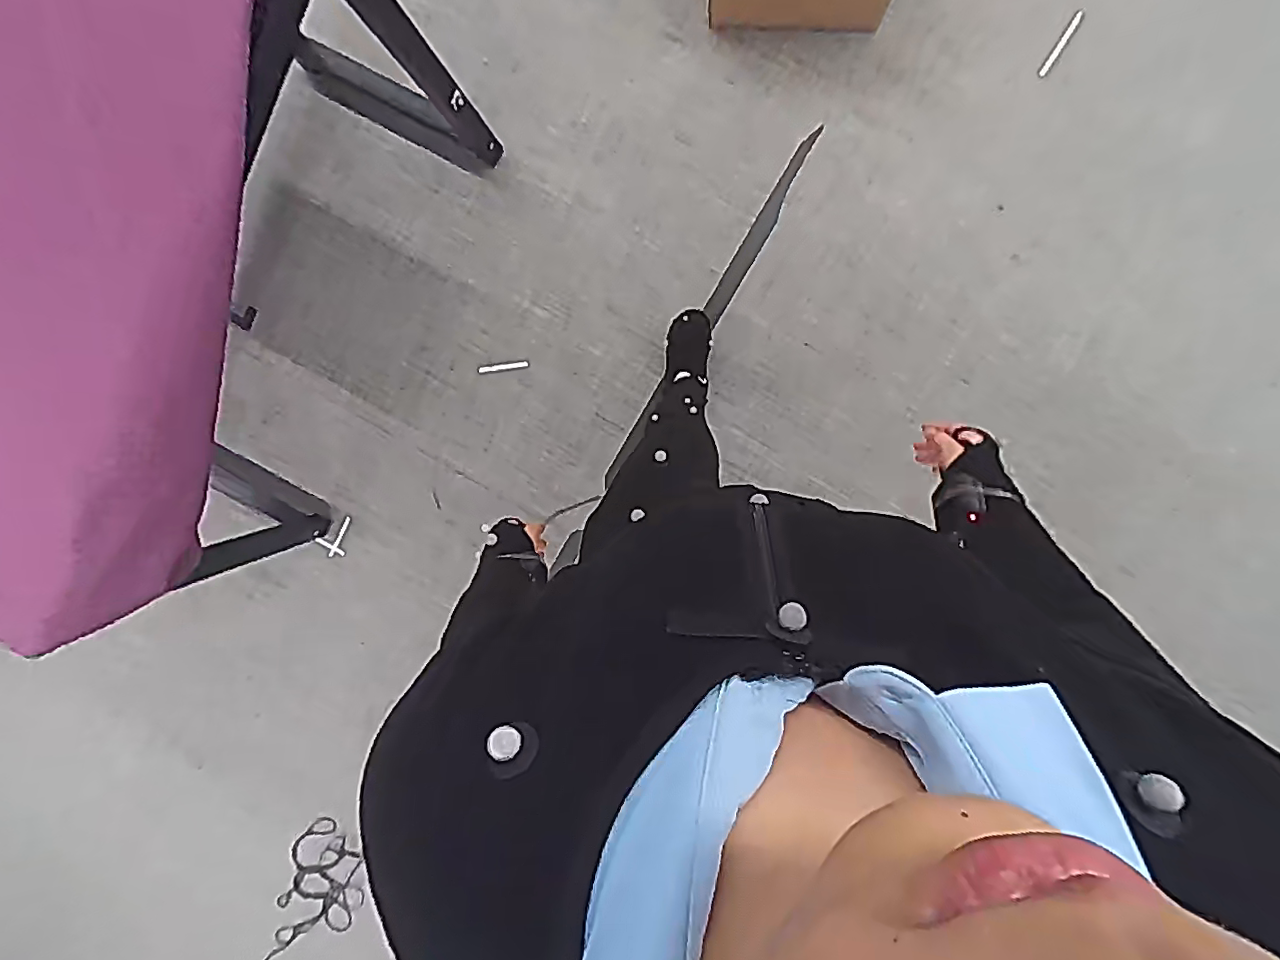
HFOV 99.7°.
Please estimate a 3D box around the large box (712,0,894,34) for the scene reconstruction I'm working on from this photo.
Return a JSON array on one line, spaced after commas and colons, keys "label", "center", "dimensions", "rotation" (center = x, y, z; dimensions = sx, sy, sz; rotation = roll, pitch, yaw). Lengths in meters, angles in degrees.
[{"label": "large box", "center": [0.364, -1.207, 1.135], "dimensions": [0.408, 0.320, 0.320], "rotation": [4, 97, 5]}]
